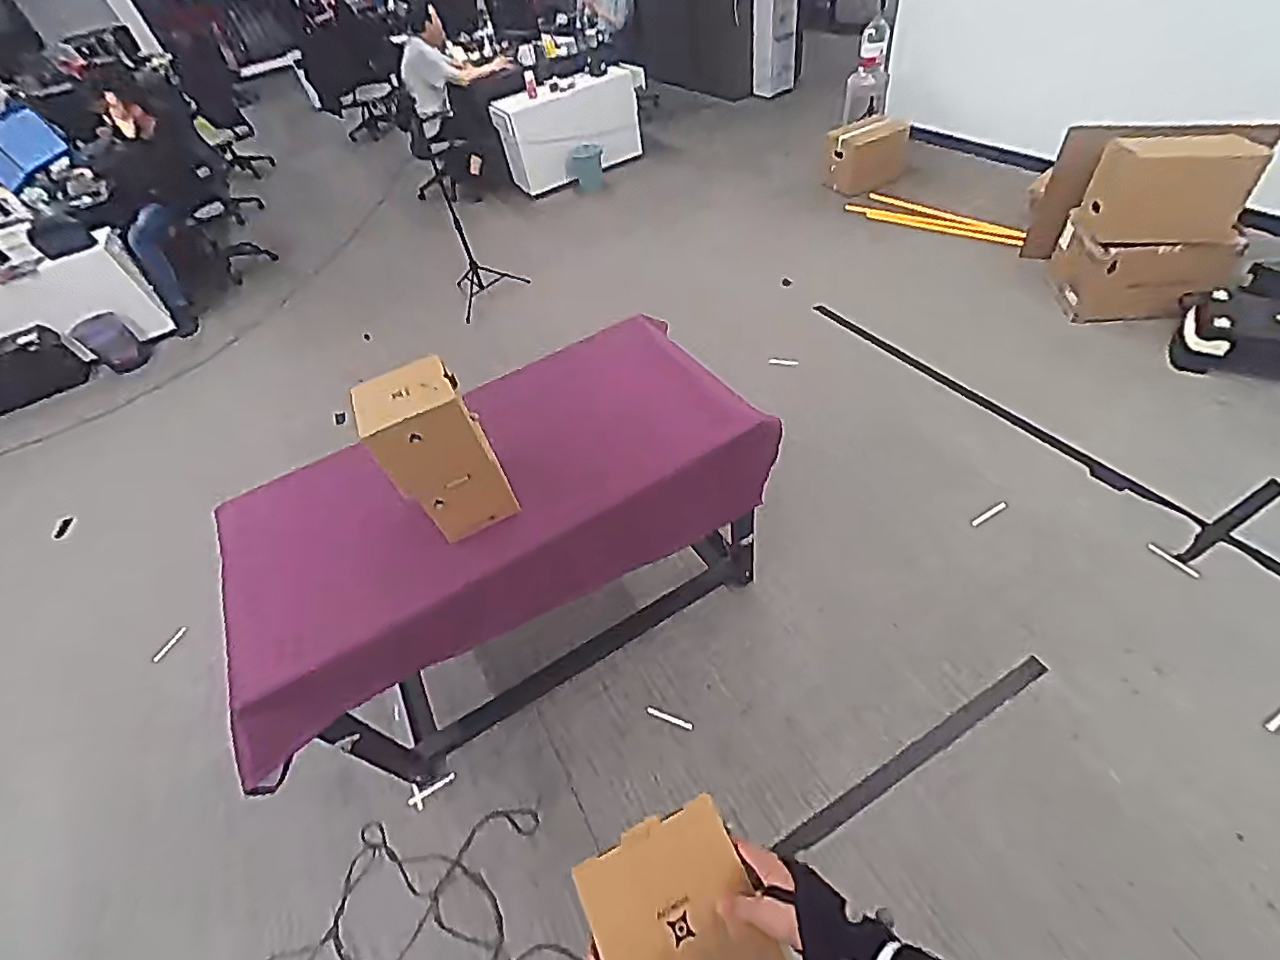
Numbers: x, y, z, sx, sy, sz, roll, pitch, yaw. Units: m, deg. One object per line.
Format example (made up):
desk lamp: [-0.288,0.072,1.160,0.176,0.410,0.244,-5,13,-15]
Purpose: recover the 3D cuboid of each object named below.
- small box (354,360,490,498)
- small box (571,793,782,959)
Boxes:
small box: [-0.415,-0.094,1.038,0.179,0.176,0.168,-26,49,-11]
small box: [0.037,0.484,0.607,0.168,0.176,0.179,-21,57,-13]
